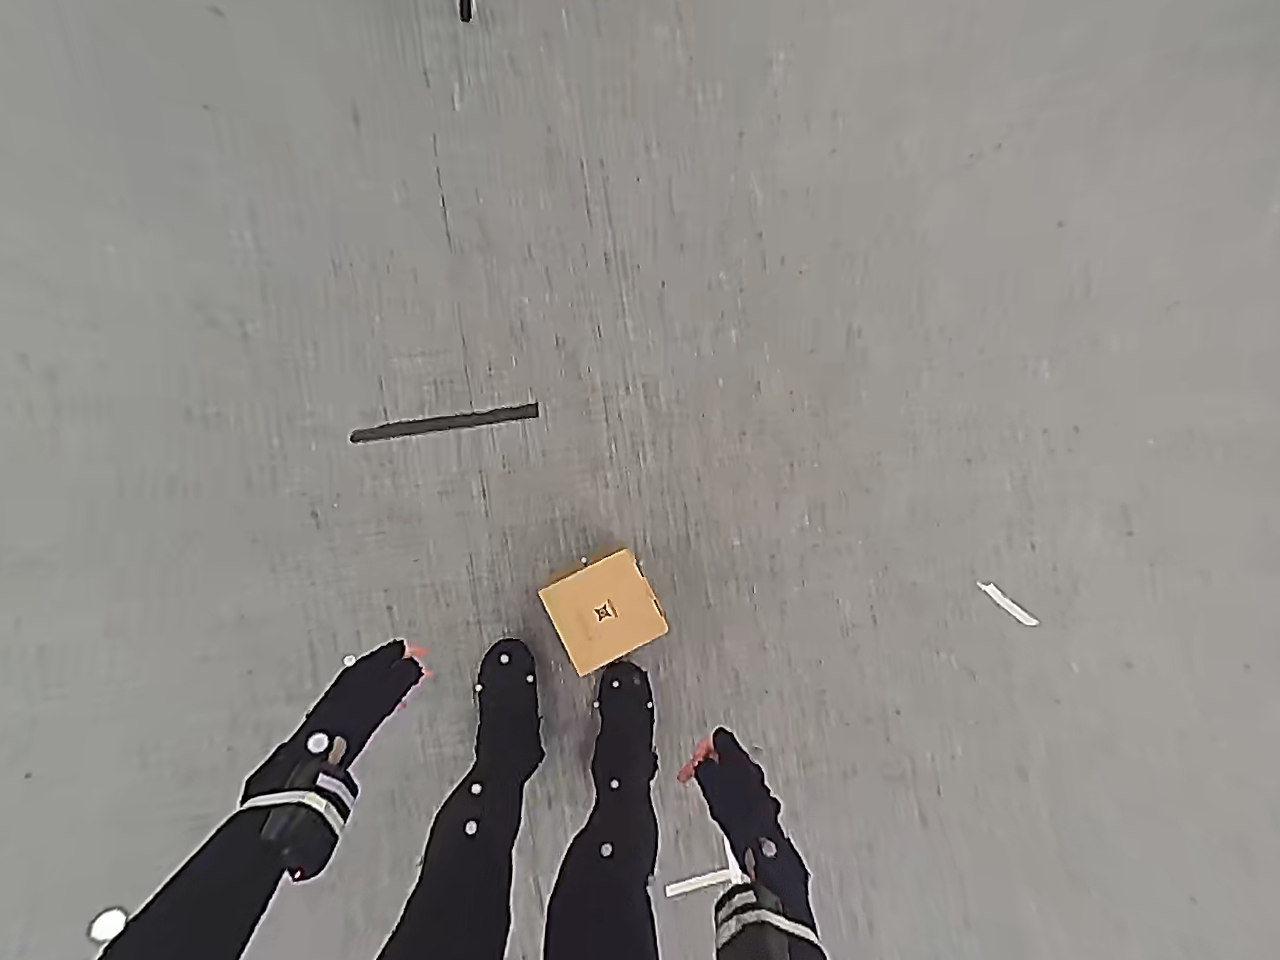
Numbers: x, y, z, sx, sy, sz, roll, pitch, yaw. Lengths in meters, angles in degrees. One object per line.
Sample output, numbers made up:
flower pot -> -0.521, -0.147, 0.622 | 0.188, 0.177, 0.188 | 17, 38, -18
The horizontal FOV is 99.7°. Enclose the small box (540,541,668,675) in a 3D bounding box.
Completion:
small box -> -0.070, 0.224, 1.004 | 0.179, 0.176, 0.168 | -27, 90, -6
